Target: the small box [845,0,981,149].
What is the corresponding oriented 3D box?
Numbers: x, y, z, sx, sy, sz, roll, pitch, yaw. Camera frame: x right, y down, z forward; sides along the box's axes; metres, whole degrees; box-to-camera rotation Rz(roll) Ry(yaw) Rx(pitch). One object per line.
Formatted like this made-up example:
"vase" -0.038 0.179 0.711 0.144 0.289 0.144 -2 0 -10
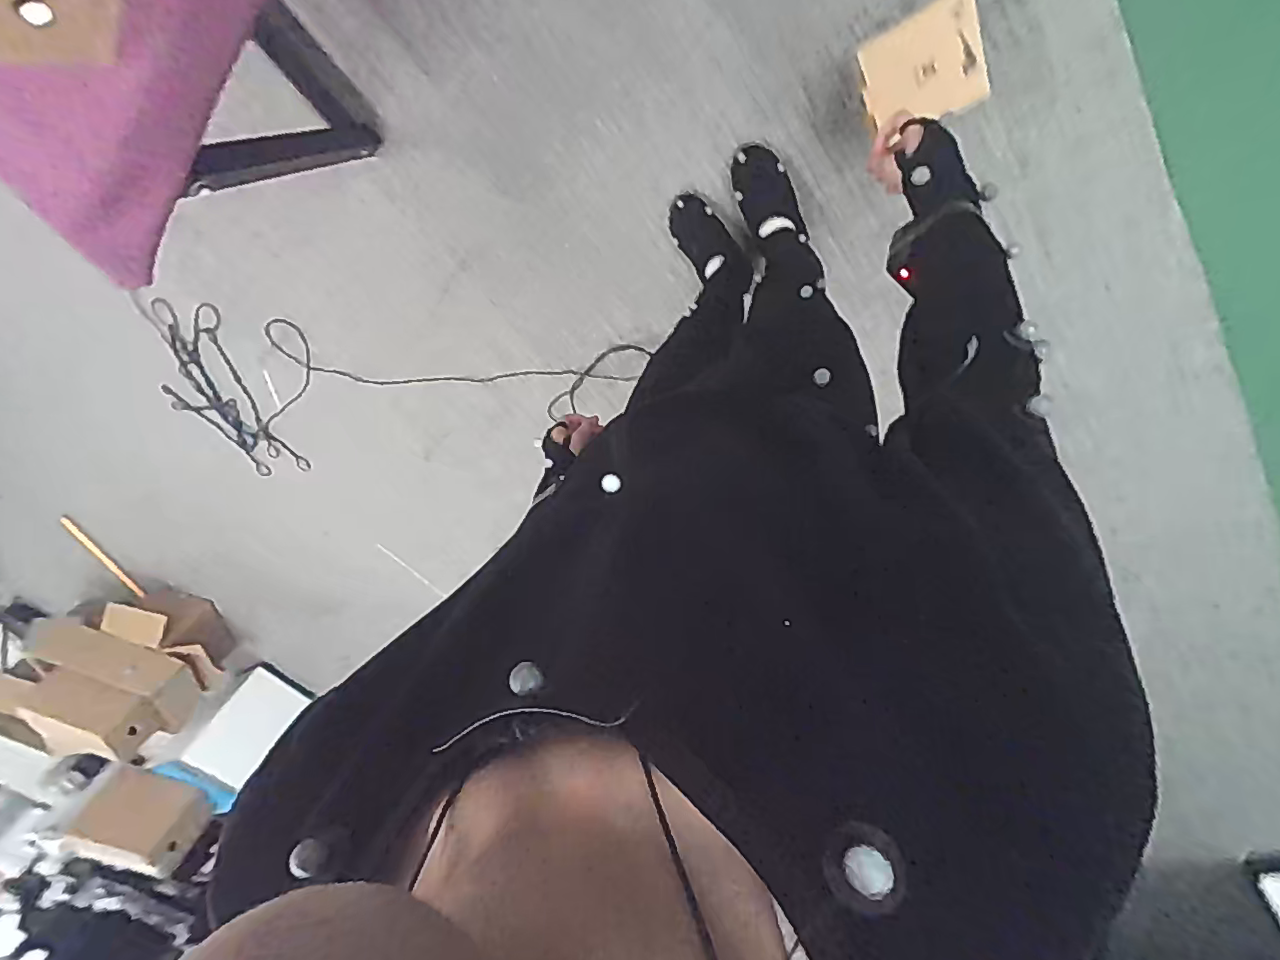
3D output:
"small box" 0.474 -0.724 0.962 0.179 0.176 0.168 -18 121 25
